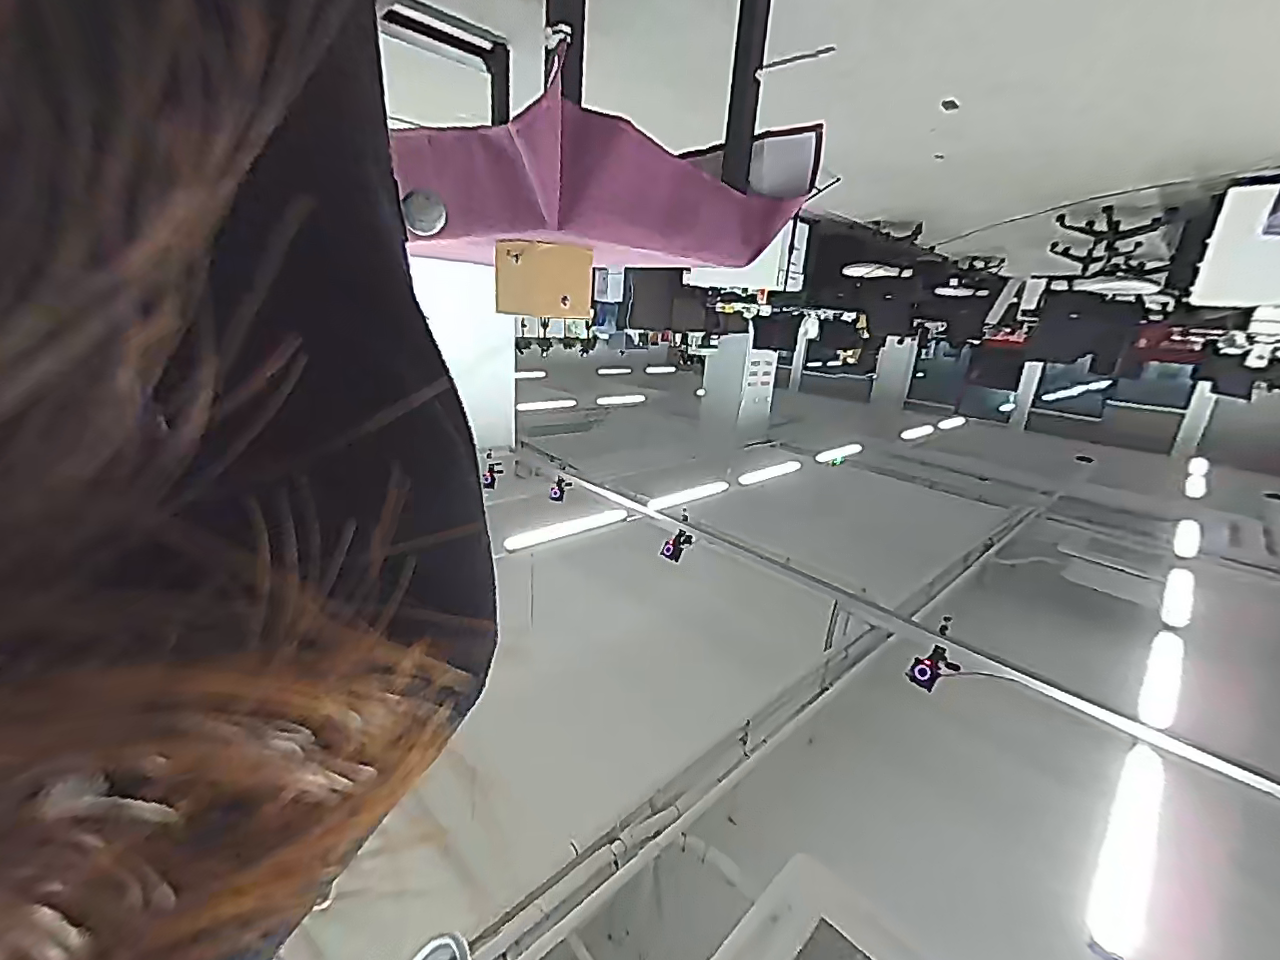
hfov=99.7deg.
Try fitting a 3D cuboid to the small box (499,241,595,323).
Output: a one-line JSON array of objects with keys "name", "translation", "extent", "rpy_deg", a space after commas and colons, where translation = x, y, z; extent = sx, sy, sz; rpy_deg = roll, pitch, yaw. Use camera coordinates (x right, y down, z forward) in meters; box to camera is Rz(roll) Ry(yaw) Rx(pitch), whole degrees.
[{"name": "small box", "translation": [-0.223, -0.478, 1.311], "extent": [0.179, 0.176, 0.168], "rpy_deg": [-13, -156, -43]}]
